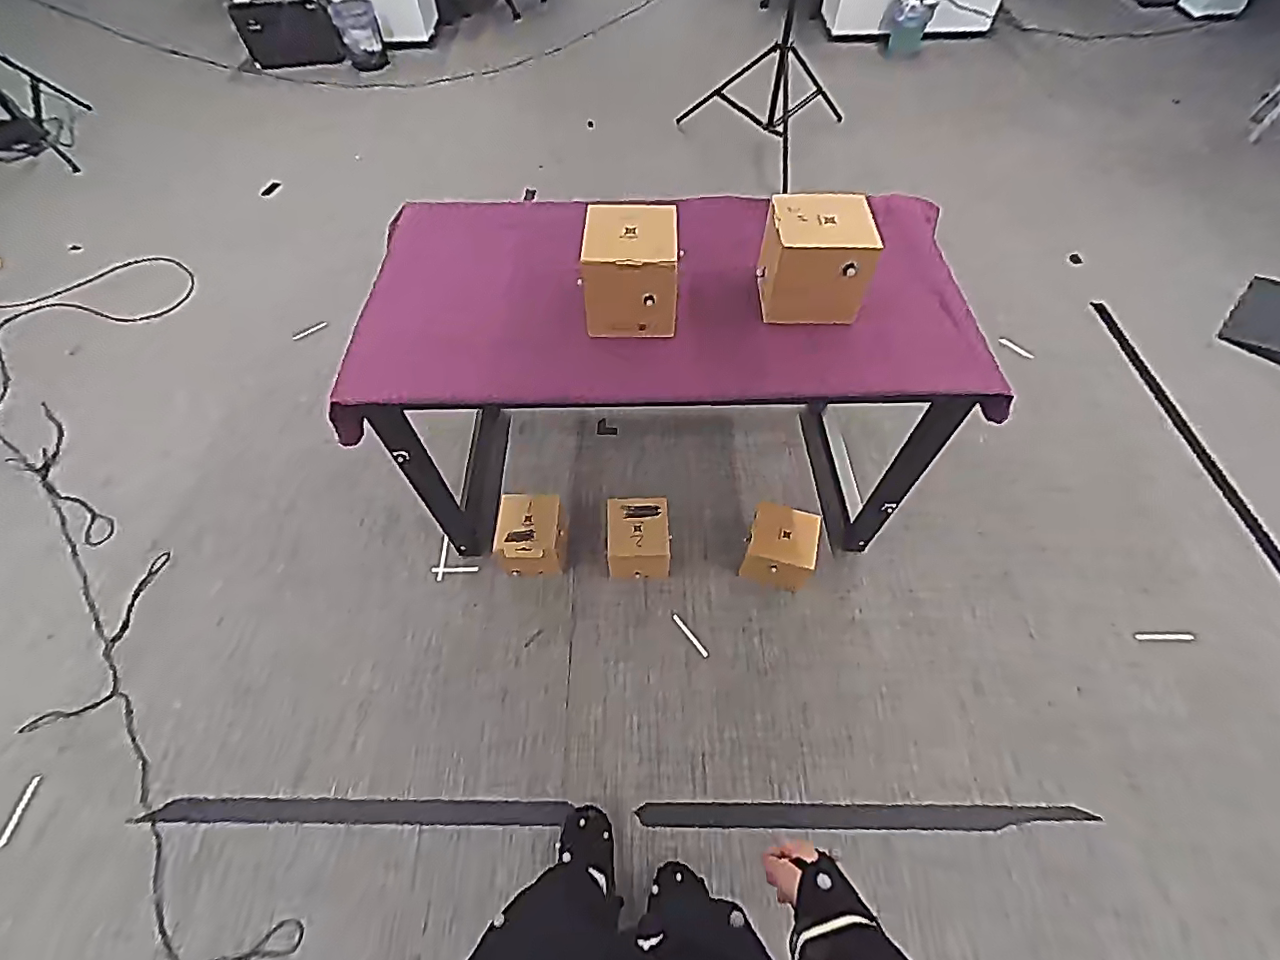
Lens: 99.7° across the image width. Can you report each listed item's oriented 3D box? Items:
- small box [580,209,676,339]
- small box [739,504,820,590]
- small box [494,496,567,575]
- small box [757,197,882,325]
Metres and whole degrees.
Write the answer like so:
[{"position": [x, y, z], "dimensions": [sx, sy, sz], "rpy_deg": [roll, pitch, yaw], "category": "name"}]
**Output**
[{"position": [-0.017, -0.384, 1.019], "dimensions": [0.168, 0.176, 0.179], "rpy_deg": [1, 55, 0], "category": "small box"}, {"position": [0.387, 0.192, 1.513], "dimensions": [0.179, 0.176, 0.168], "rpy_deg": [13, 59, 10], "category": "small box"}, {"position": [-0.304, 0.163, 1.537], "dimensions": [0.168, 0.176, 0.179], "rpy_deg": [0, 56, 1], "category": "small box"}, {"position": [0.330, -0.413, 1.032], "dimensions": [0.179, 0.176, 0.168], "rpy_deg": [0, 56, 1], "category": "small box"}]
